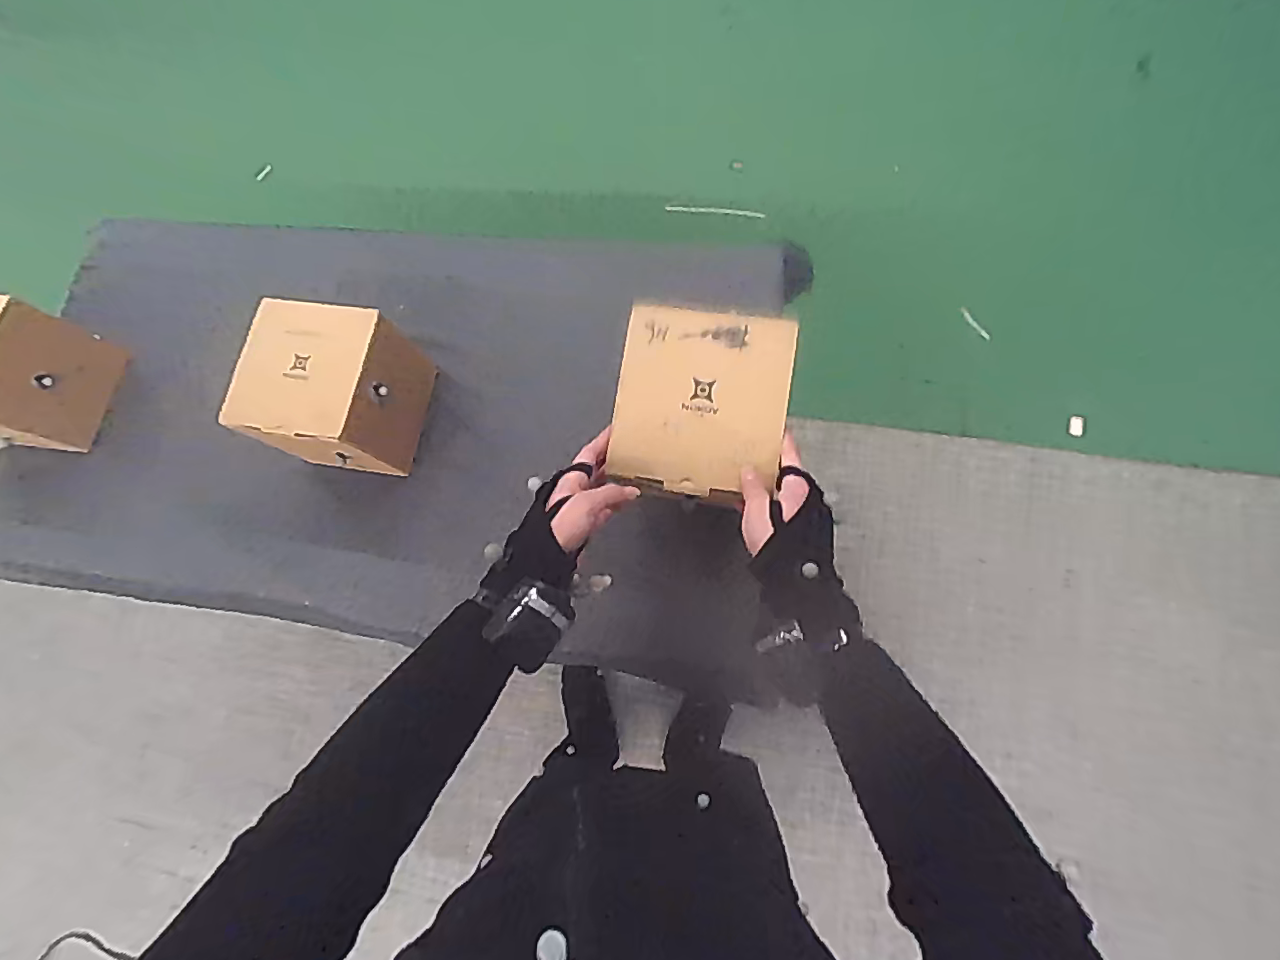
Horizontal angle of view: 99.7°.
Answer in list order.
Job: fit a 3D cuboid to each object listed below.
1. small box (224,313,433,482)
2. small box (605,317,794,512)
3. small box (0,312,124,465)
[{"bbox_3d":[-0.411,-0.104,0.748,0.168,0.176,0.179,7,76,6],"label":"small box"},{"bbox_3d":[0.068,-0.061,0.608,0.168,0.176,0.179,8,85,8],"label":"small box"},{"bbox_3d":[-0.939,-0.134,0.805,0.168,0.176,0.179,6,76,7],"label":"small box"}]
